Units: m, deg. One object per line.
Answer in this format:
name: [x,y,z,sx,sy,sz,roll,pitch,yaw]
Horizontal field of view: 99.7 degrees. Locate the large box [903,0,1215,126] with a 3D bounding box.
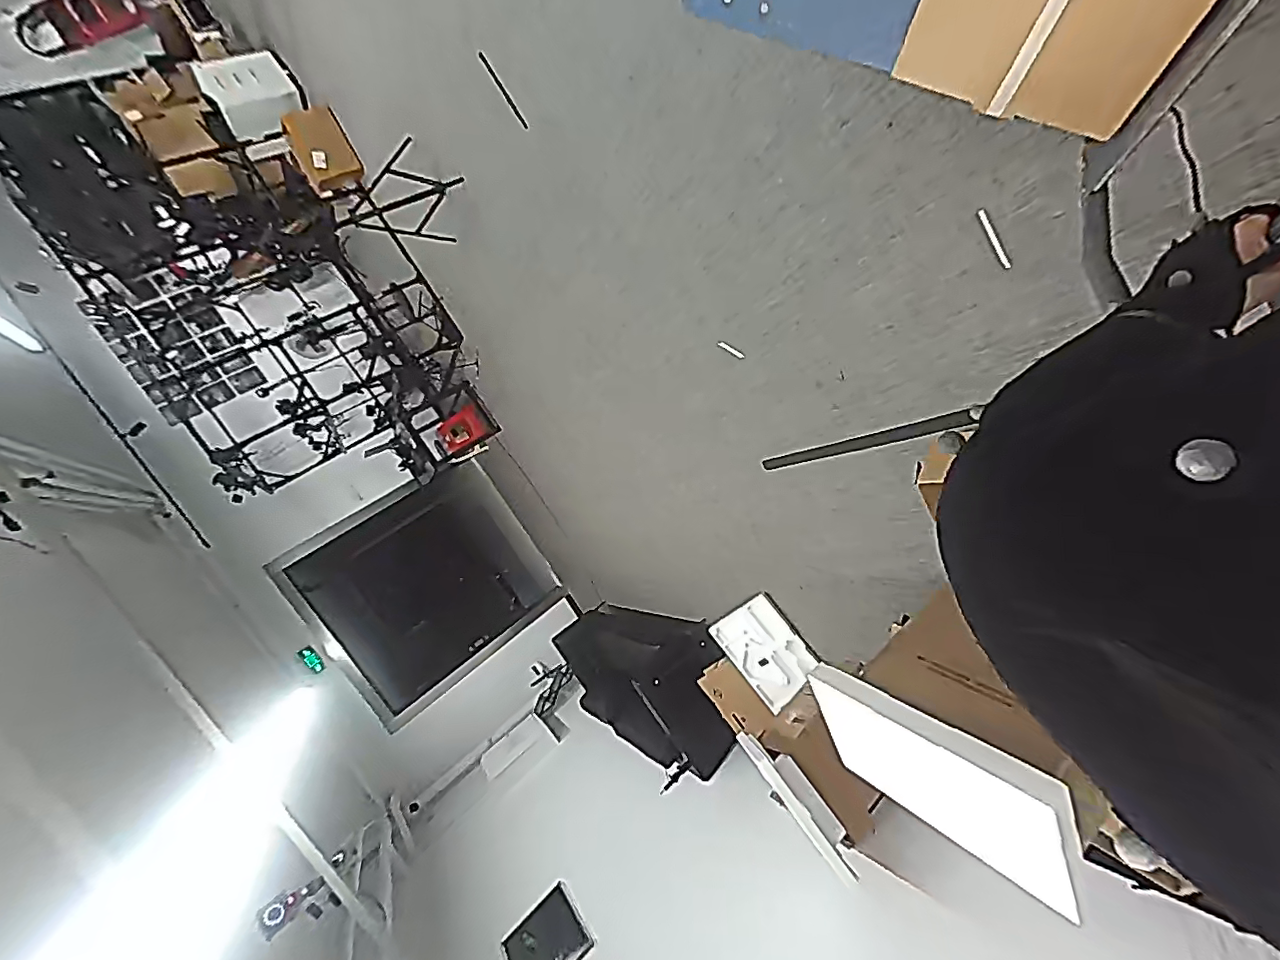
large box: [0.601,-0.755,0.679,0.320,0.320,0.408,26,148,12]
